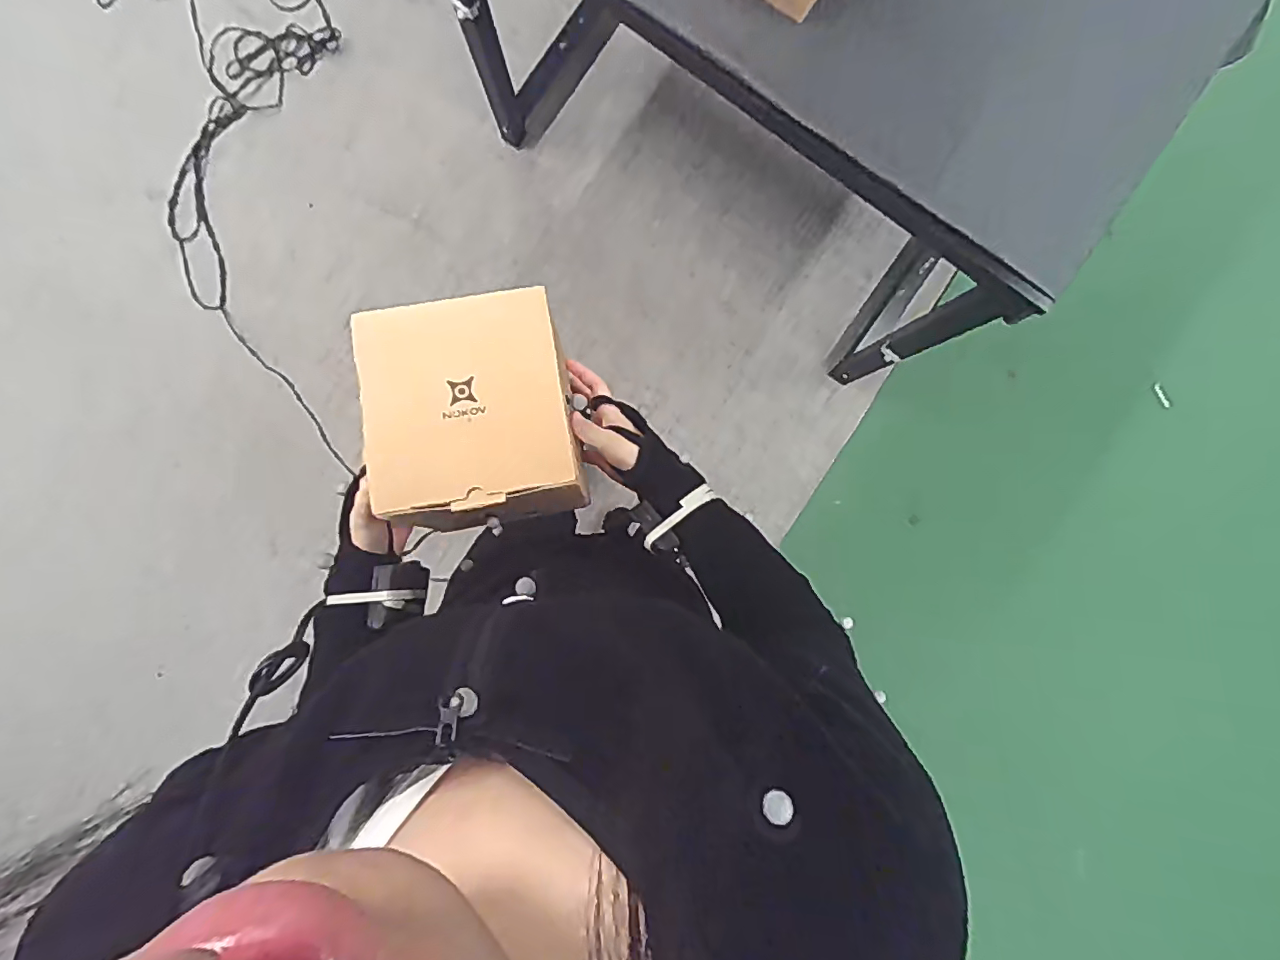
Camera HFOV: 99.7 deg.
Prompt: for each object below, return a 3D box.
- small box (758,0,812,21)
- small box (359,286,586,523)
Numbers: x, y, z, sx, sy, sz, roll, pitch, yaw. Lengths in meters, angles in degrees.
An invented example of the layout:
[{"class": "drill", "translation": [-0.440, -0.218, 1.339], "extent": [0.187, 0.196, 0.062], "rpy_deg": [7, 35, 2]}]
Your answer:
[{"class": "small box", "translation": [0.208, -0.772, 0.700], "extent": [0.168, 0.176, 0.179], "rpy_deg": [34, 88, -1]}, {"class": "small box", "translation": [-0.148, -0.061, 0.530], "extent": [0.168, 0.176, 0.179], "rpy_deg": [-10, 83, -5]}]
